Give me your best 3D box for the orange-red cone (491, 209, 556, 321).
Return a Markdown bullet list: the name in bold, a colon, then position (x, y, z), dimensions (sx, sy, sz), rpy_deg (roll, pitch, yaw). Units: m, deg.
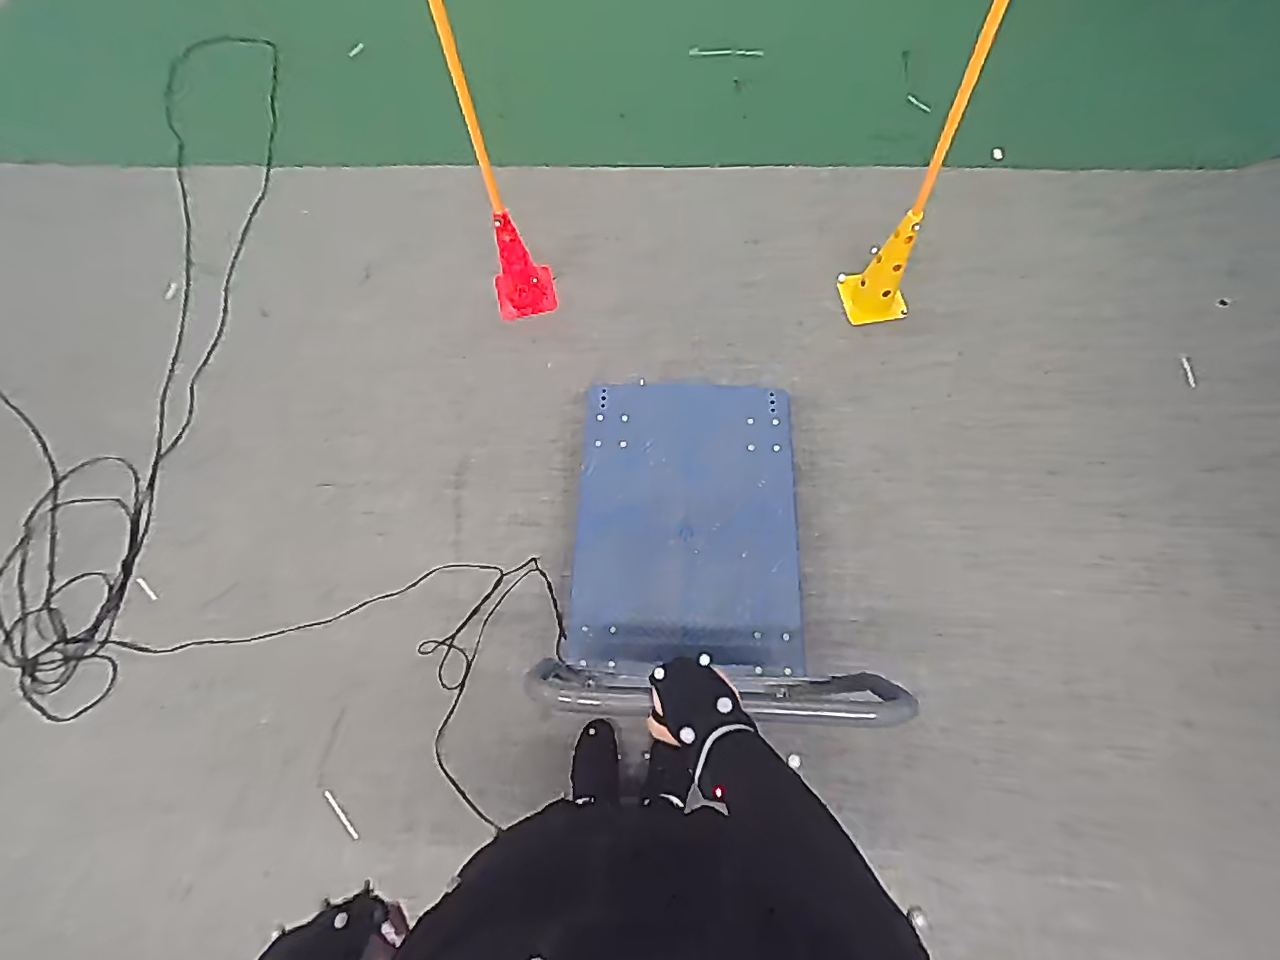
- **orange-red cone**: position (-0.407, -0.708, 1.726), dimensions (0.199, 0.360, 0.198), rpy_deg (-13, 69, -1)
